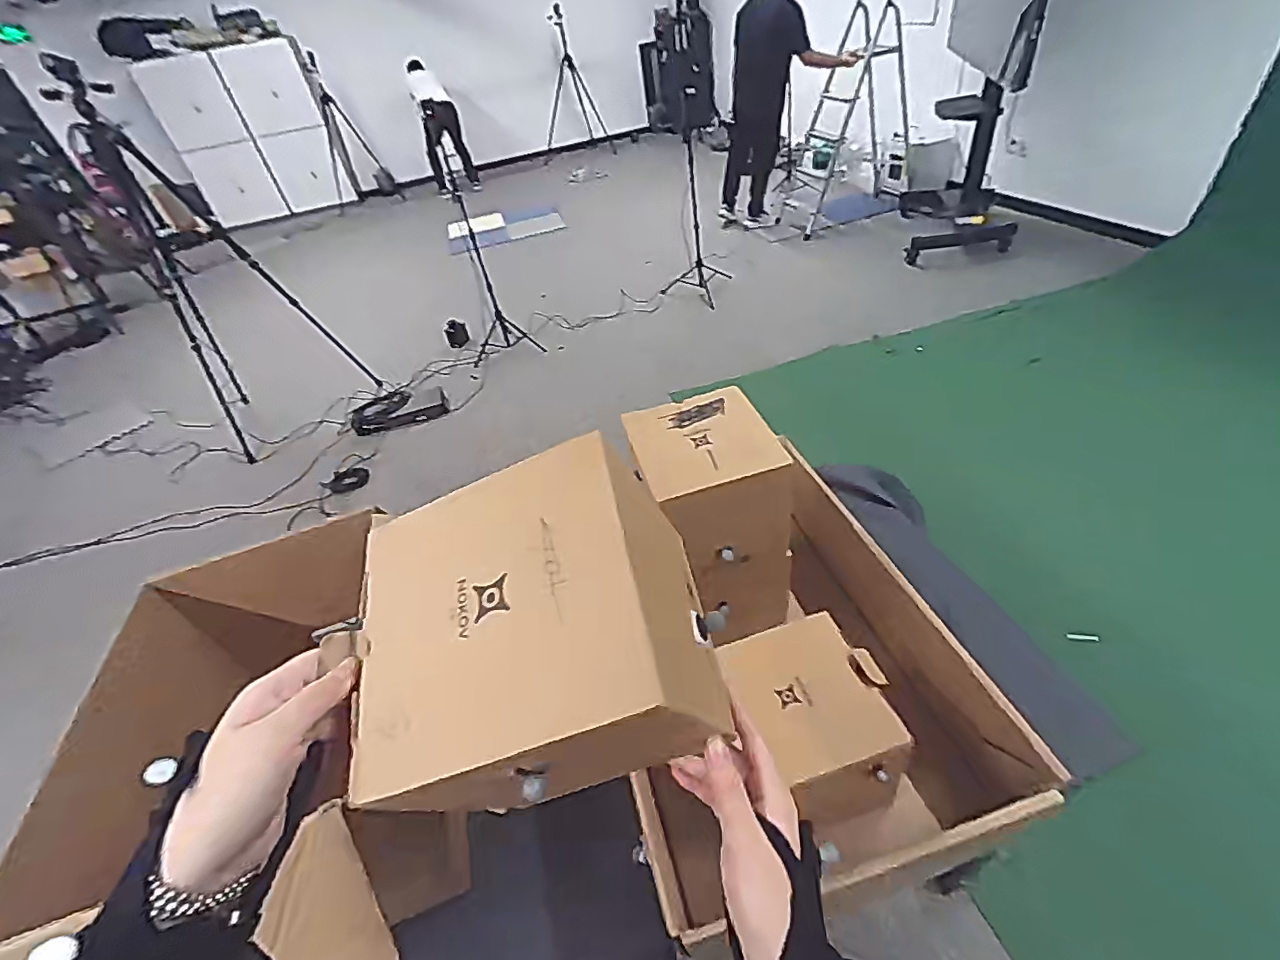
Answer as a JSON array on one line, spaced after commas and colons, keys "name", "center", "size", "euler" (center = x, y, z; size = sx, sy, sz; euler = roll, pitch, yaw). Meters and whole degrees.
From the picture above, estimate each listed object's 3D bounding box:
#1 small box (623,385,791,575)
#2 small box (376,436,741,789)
[{"name": "small box", "center": [0.083, 0.004, 0.719], "size": [0.168, 0.176, 0.179], "euler": [-15, 44, -5]}, {"name": "small box", "center": [-0.048, 0.105, 0.375], "size": [0.179, 0.176, 0.168], "euler": [-21, 56, 10]}]
